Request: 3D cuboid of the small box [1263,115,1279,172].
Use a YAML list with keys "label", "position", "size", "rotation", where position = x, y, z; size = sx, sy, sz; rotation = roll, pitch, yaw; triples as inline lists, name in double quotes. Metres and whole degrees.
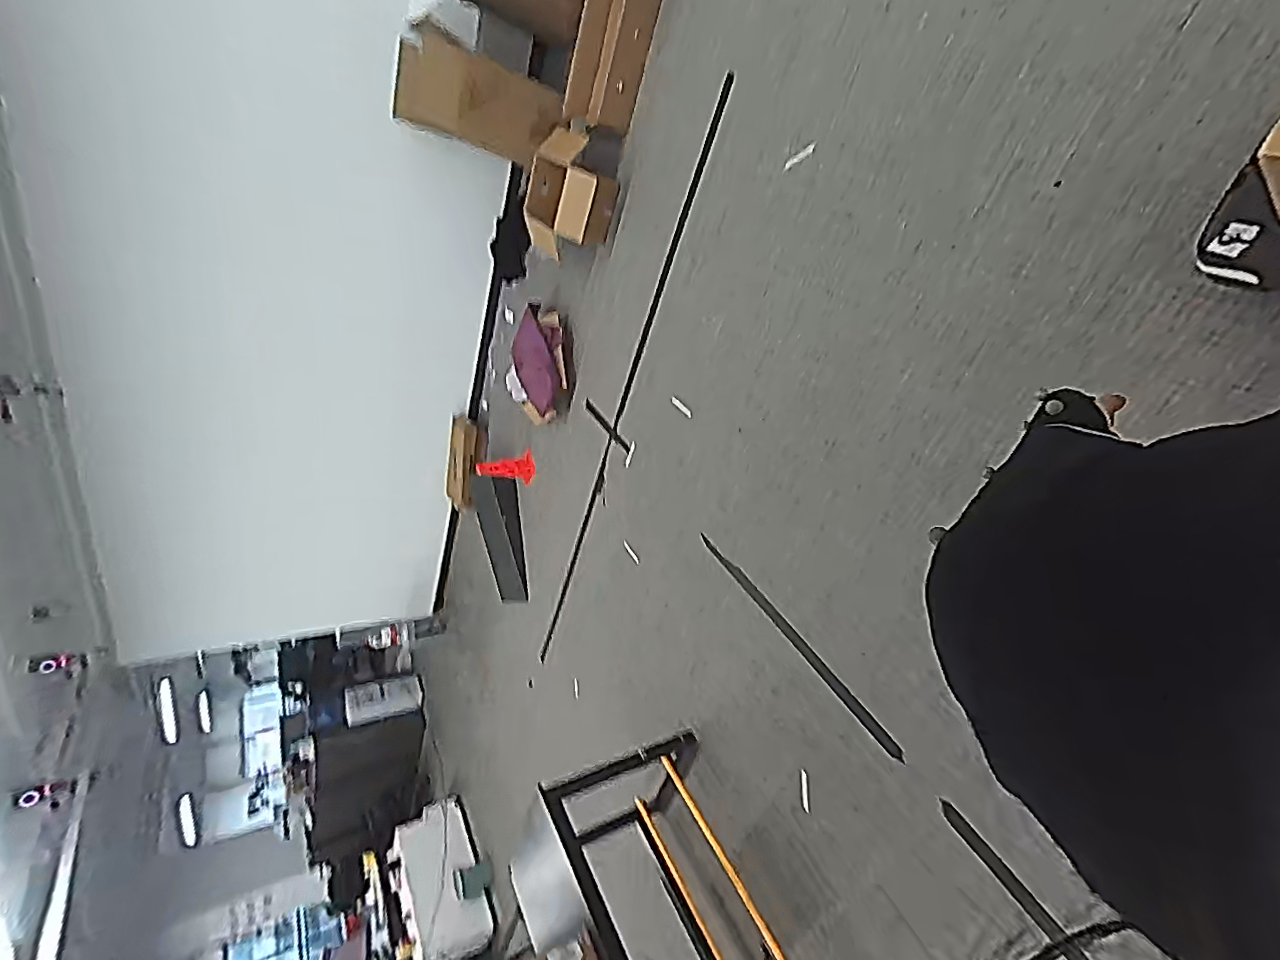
- label: "small box"
  position: [0.892, -0.445, 0.620]
  size: [0.168, 0.176, 0.179]
  rotation: [46, 128, 43]
